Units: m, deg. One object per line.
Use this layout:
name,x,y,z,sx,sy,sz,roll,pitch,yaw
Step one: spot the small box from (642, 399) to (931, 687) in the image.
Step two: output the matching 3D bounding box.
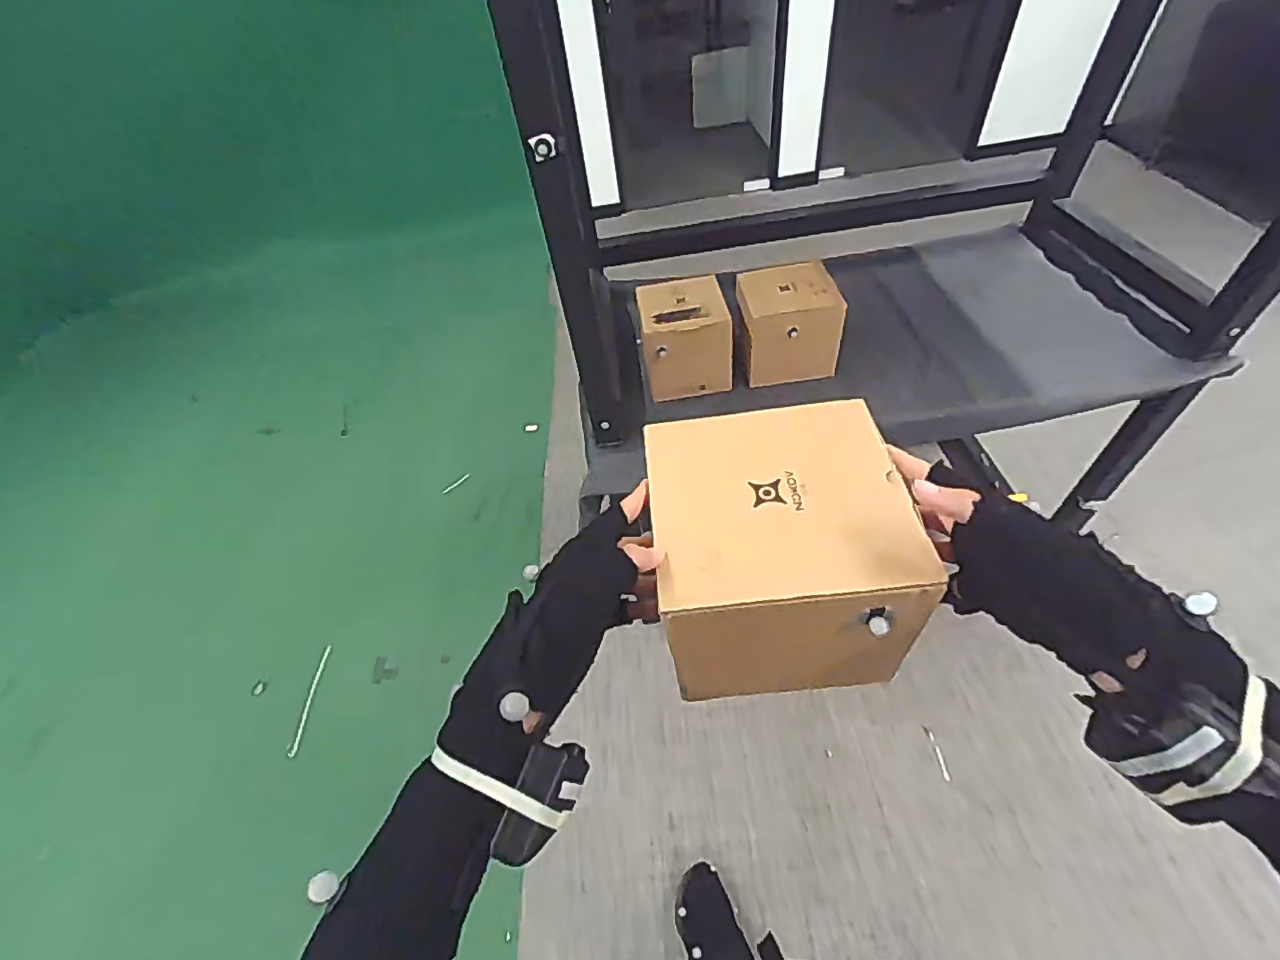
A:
small box,0.102,0.059,0.448,0.179,0.176,0.168,-7,50,3
